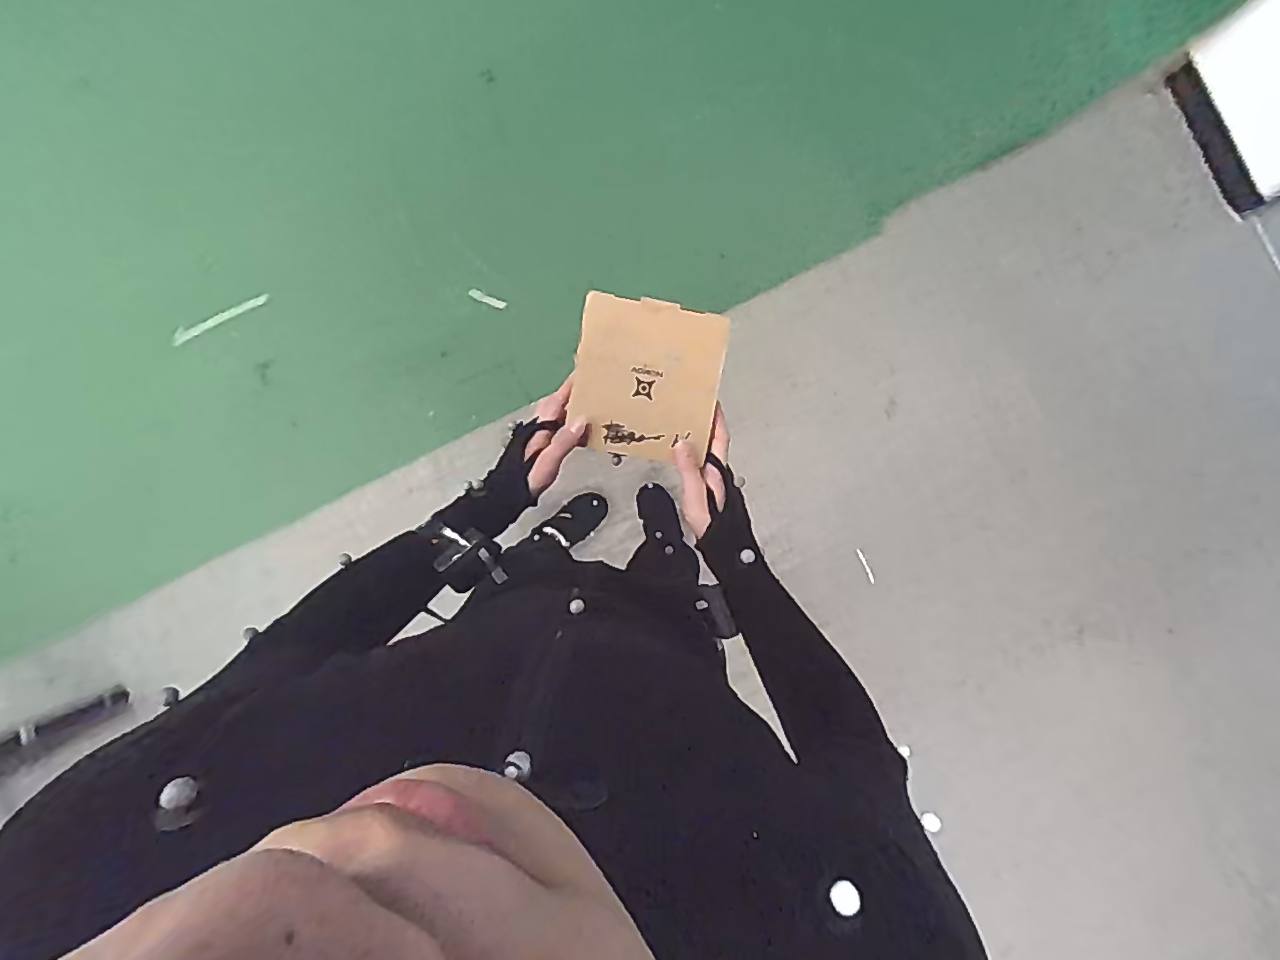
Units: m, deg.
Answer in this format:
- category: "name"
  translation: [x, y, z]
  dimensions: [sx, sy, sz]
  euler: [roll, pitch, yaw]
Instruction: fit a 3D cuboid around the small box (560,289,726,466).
- category: "small box"
  translation: [0.002, -0.123, 0.691]
  dimensions: [0.168, 0.176, 0.179]
  euler: [10, 96, 0]
